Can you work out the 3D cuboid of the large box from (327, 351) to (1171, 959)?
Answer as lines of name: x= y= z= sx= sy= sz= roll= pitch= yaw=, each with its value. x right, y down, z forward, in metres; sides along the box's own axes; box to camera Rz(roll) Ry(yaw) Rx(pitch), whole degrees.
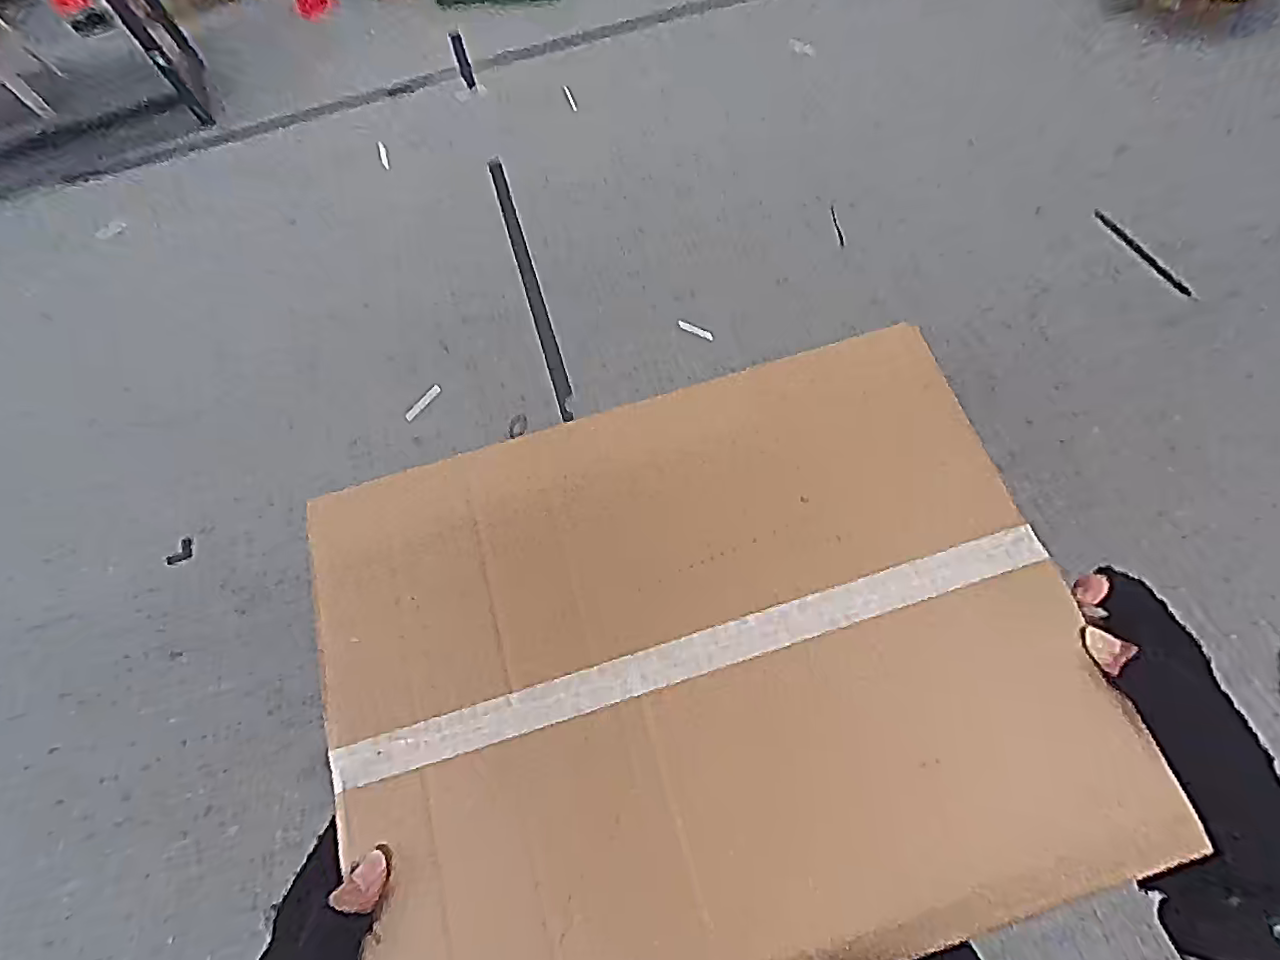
large box: x=0.043 y=0.155 z=0.445 sx=0.408 sy=0.320 sz=0.320 roll=-17 pitch=70 yaw=-2
